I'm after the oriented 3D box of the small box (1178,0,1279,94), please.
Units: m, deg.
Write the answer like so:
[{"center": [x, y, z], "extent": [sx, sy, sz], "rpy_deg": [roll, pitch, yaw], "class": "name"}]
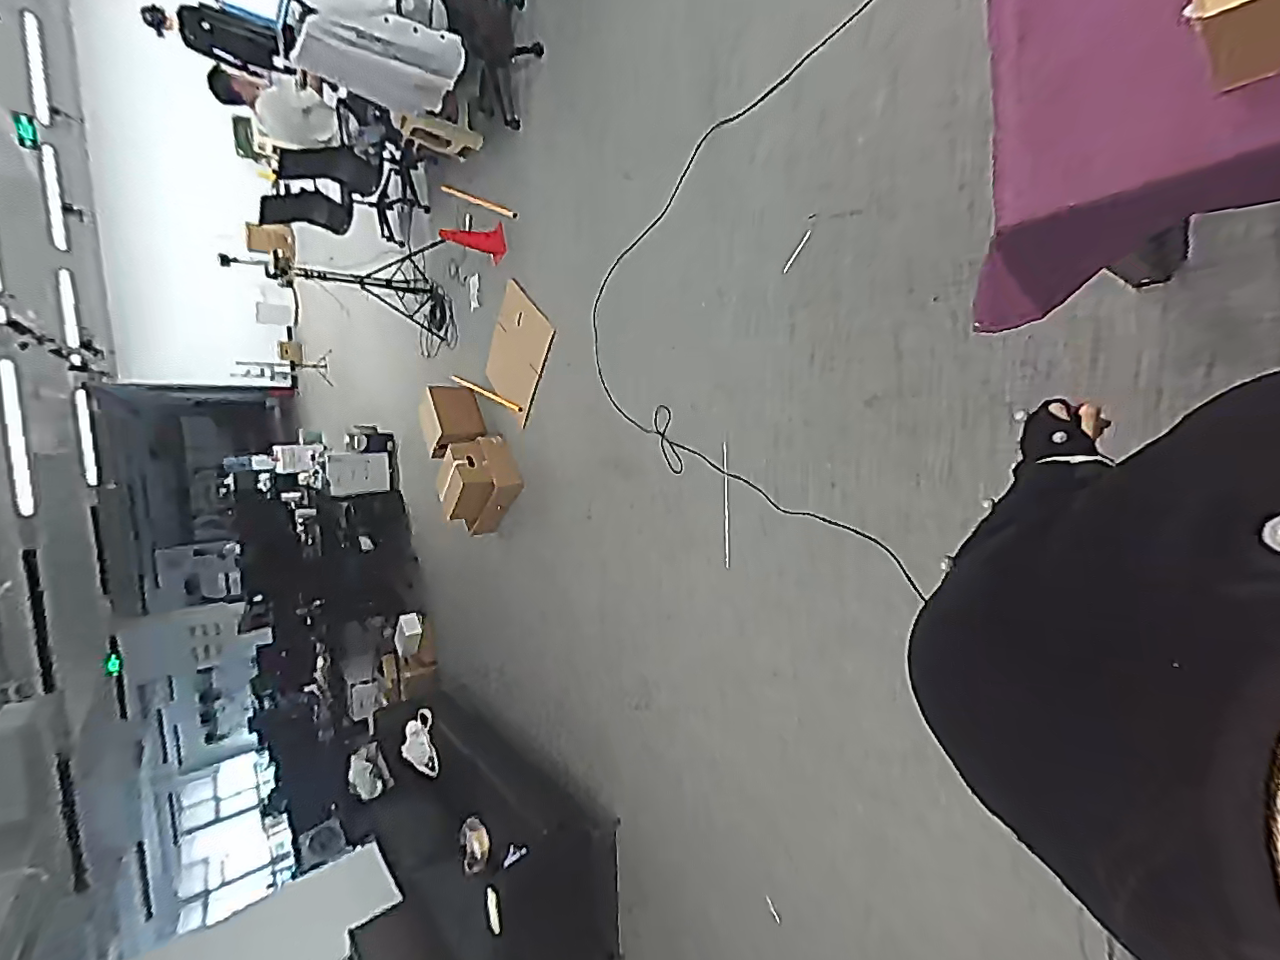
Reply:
[{"center": [0.568, -0.454, 0.429], "extent": [0.179, 0.176, 0.168], "rpy_deg": [6, 100, 50], "class": "small box"}]
